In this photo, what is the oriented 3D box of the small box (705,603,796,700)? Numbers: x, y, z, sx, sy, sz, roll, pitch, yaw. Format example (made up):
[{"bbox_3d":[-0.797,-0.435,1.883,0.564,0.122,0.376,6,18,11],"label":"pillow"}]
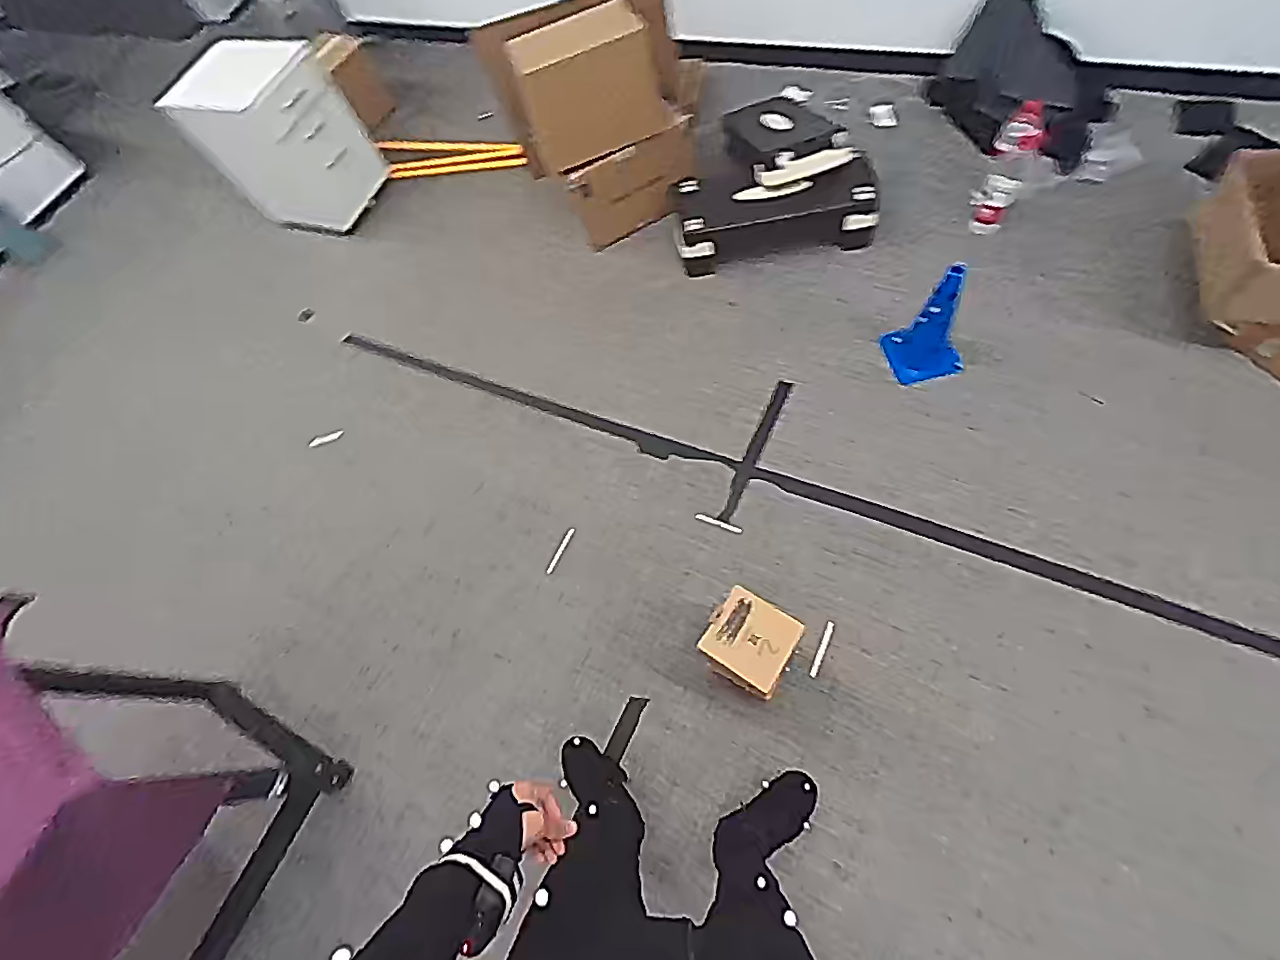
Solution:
[{"bbox_3d":[0.283,0.442,1.375,0.168,0.176,0.179,25,73,21],"label":"small box"}]
